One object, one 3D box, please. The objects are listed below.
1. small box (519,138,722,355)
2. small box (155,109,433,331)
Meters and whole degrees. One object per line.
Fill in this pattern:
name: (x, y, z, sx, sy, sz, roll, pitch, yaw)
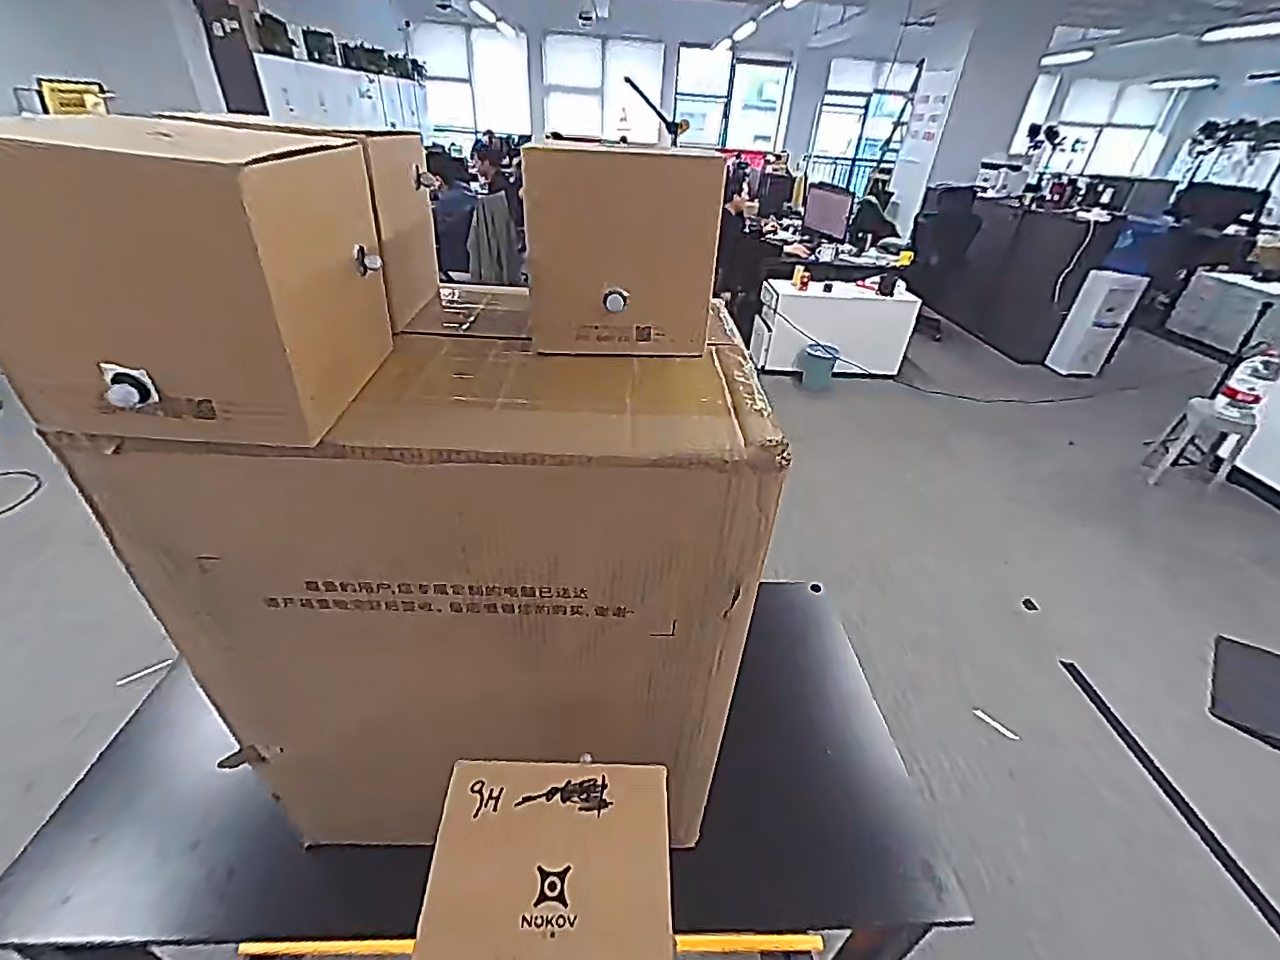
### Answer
small box: (-0.024, -0.235, 0.539, 0.168, 0.176, 0.179, -1, 33, -5)
small box: (-0.317, -0.261, 0.547, 0.168, 0.176, 0.179, 1, 32, -5)
